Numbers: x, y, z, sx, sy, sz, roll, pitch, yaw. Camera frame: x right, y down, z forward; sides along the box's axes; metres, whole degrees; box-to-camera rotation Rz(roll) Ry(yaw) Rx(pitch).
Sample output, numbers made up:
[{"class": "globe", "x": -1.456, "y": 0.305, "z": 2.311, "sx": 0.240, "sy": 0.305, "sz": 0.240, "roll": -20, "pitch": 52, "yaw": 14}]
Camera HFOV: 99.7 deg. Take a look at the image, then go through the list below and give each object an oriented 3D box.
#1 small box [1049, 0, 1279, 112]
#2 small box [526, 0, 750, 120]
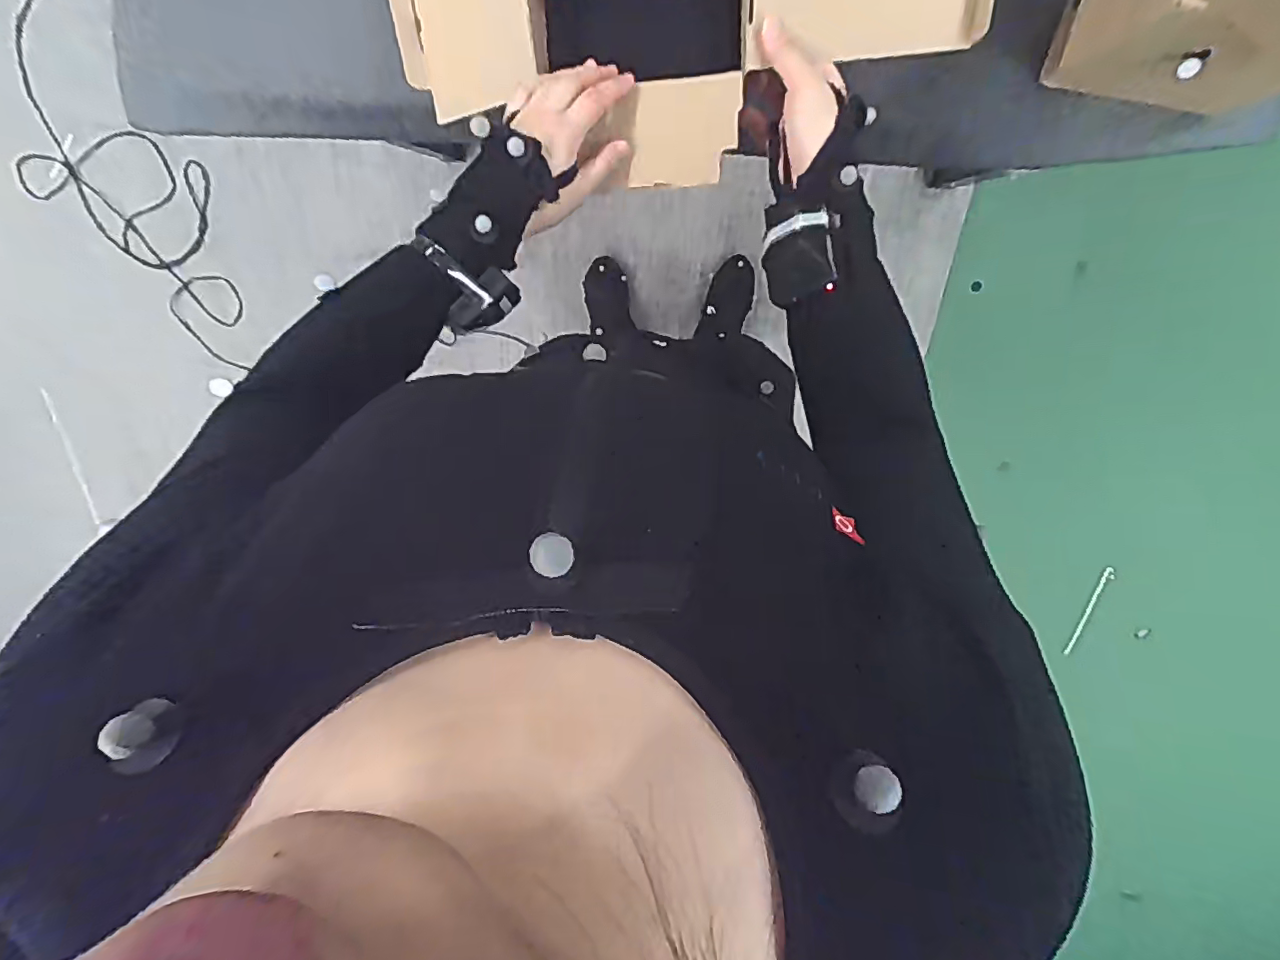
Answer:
[{"class": "small box", "x": 0.482, "y": -0.418, "z": 0.428, "sx": 0.179, "sy": 0.176, "sz": 0.168, "roll": 11, "pitch": 111, "yaw": 2}, {"class": "small box", "x": 0.004, "y": -0.430, "z": 0.477, "sx": 0.179, "sy": 0.176, "sz": 0.168, "roll": 0, "pitch": 118, "yaw": 9}]
